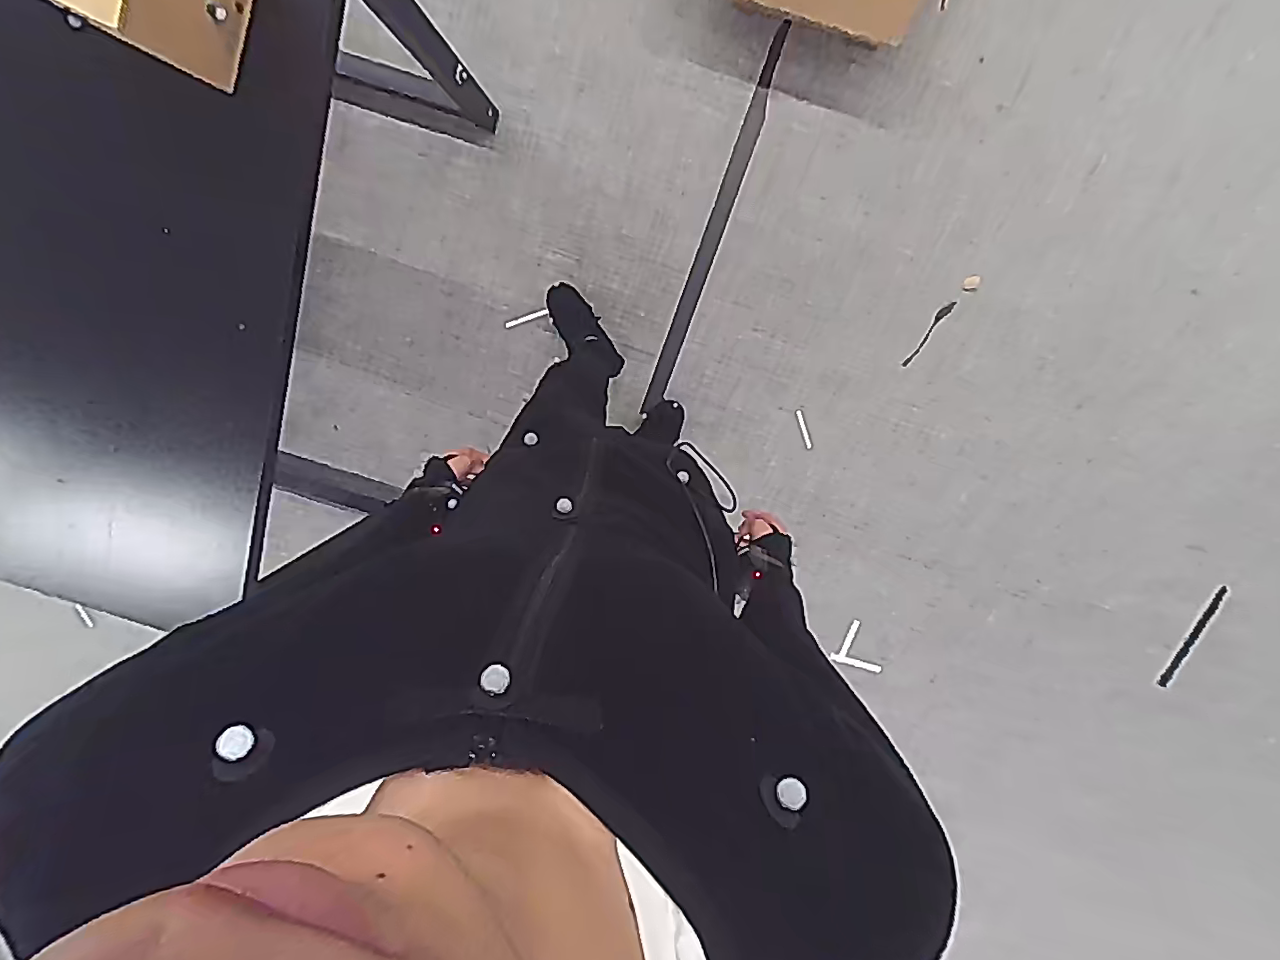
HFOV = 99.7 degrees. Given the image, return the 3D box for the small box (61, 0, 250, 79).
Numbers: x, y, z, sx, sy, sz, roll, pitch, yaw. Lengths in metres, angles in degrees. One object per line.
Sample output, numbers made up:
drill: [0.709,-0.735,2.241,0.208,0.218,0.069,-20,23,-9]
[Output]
small box: [-0.627,-0.640,0.659,0.179,0.176,0.168,26,106,-4]
